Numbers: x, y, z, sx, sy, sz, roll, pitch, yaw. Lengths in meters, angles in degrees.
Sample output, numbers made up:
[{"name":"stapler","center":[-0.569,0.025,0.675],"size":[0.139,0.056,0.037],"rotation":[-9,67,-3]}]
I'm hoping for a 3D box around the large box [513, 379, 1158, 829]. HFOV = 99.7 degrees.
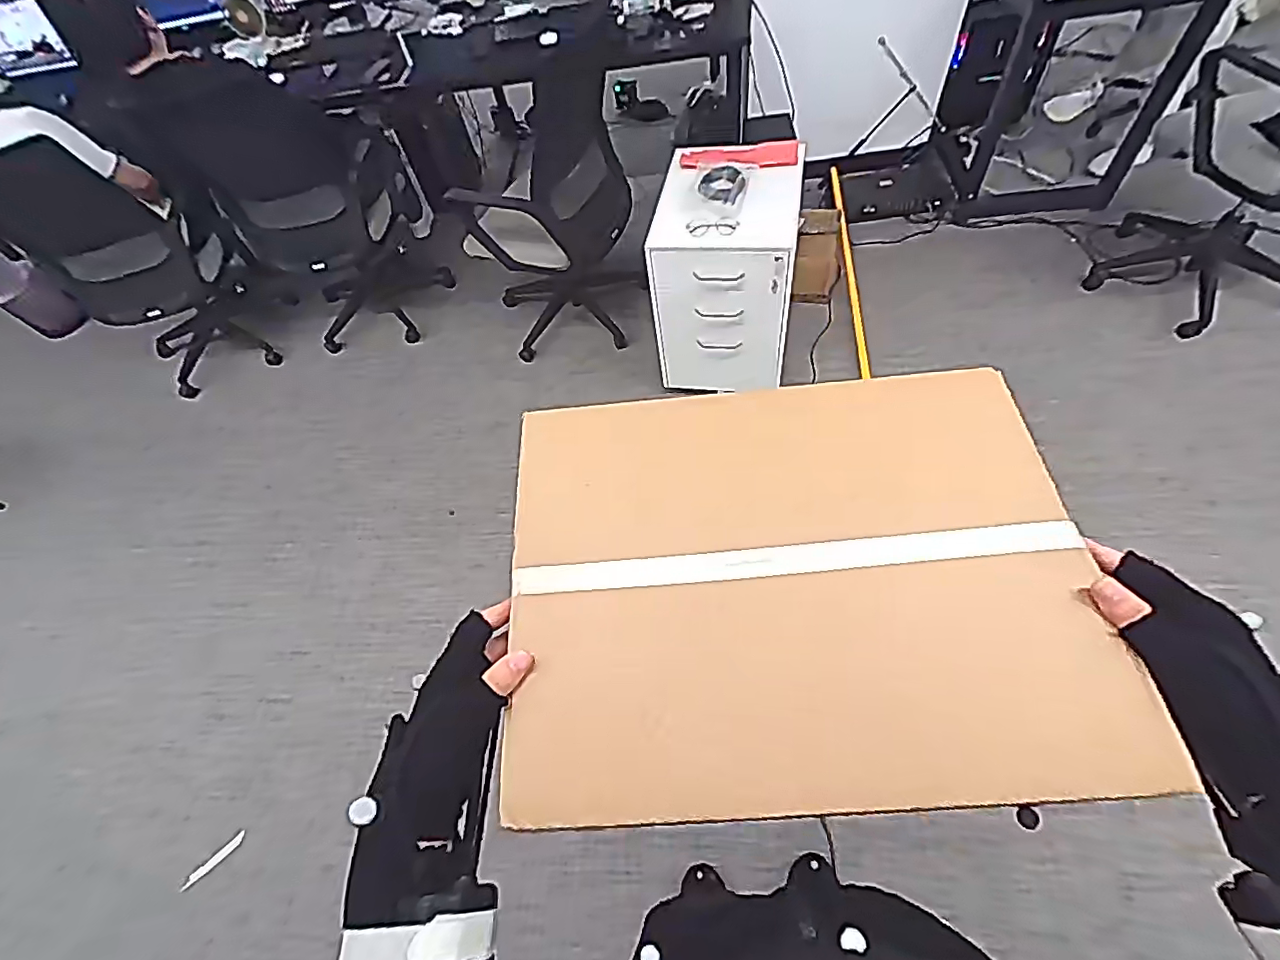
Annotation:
[{"name":"large box","center":[0.121,0.135,0.532],"size":[0.408,0.320,0.320],"rotation":[-5,60,3]}]
